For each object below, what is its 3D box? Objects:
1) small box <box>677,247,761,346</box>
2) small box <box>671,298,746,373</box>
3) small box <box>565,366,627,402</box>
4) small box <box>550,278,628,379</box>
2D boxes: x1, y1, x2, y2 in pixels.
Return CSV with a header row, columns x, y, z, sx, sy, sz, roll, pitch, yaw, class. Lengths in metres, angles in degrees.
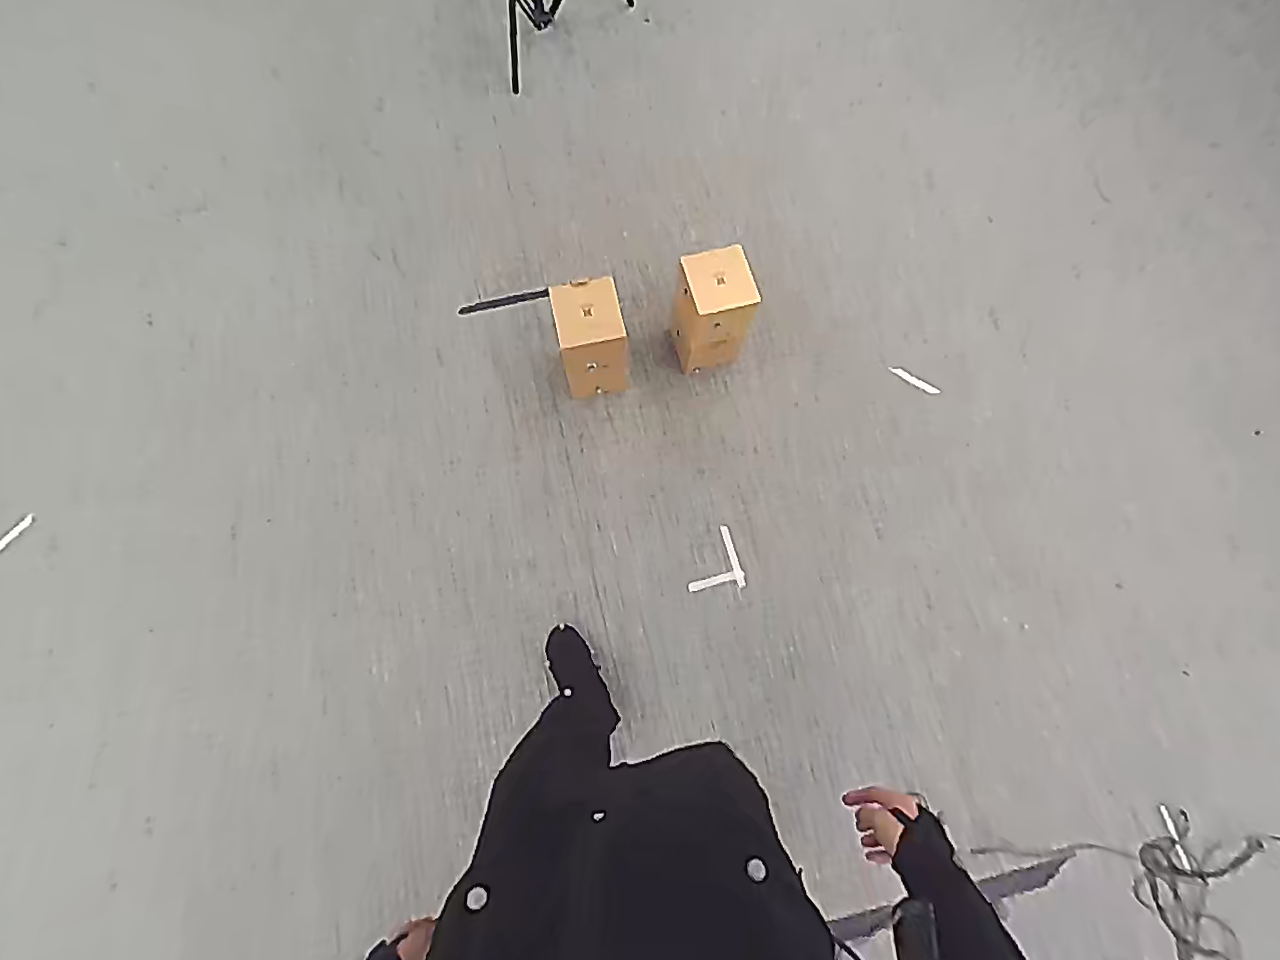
x,y,z,sx,sy,sz,roll,pitch,yaw,class
0.201,-0.474,1.424,0.168,0.176,0.179,-15,75,-6,small box
0.194,-0.430,1.580,0.168,0.176,0.179,-15,75,-6,small box
-0.135,-0.347,1.549,0.168,0.176,0.179,-12,76,-4,small box
-0.128,-0.384,1.389,0.168,0.176,0.179,-12,75,-4,small box
